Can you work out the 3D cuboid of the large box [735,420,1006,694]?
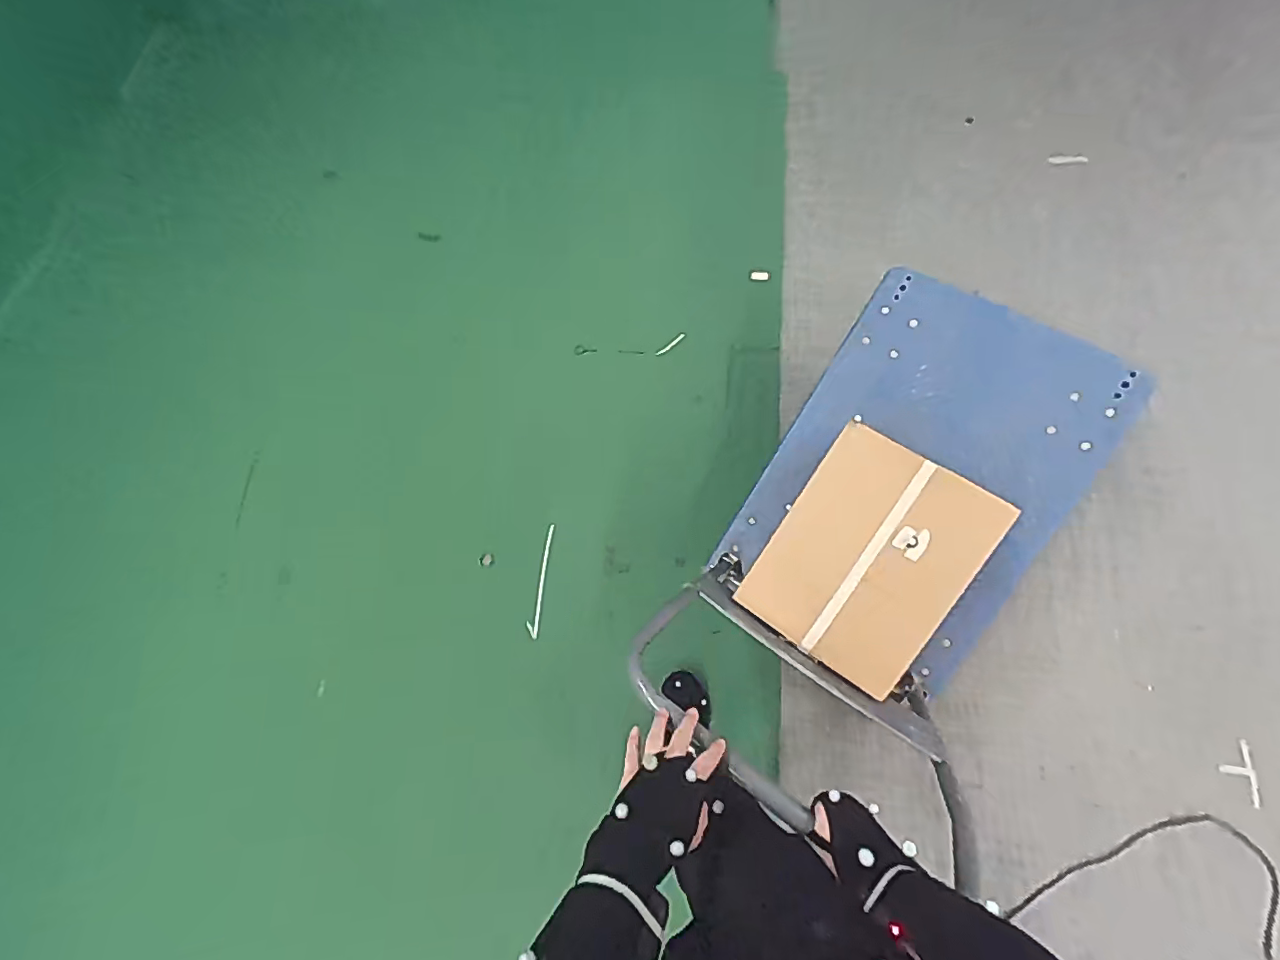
[{"bbox_3d":[0.447,0.147,1.118,0.320,0.320,0.408,34,96,17],"label":"large box"}]
